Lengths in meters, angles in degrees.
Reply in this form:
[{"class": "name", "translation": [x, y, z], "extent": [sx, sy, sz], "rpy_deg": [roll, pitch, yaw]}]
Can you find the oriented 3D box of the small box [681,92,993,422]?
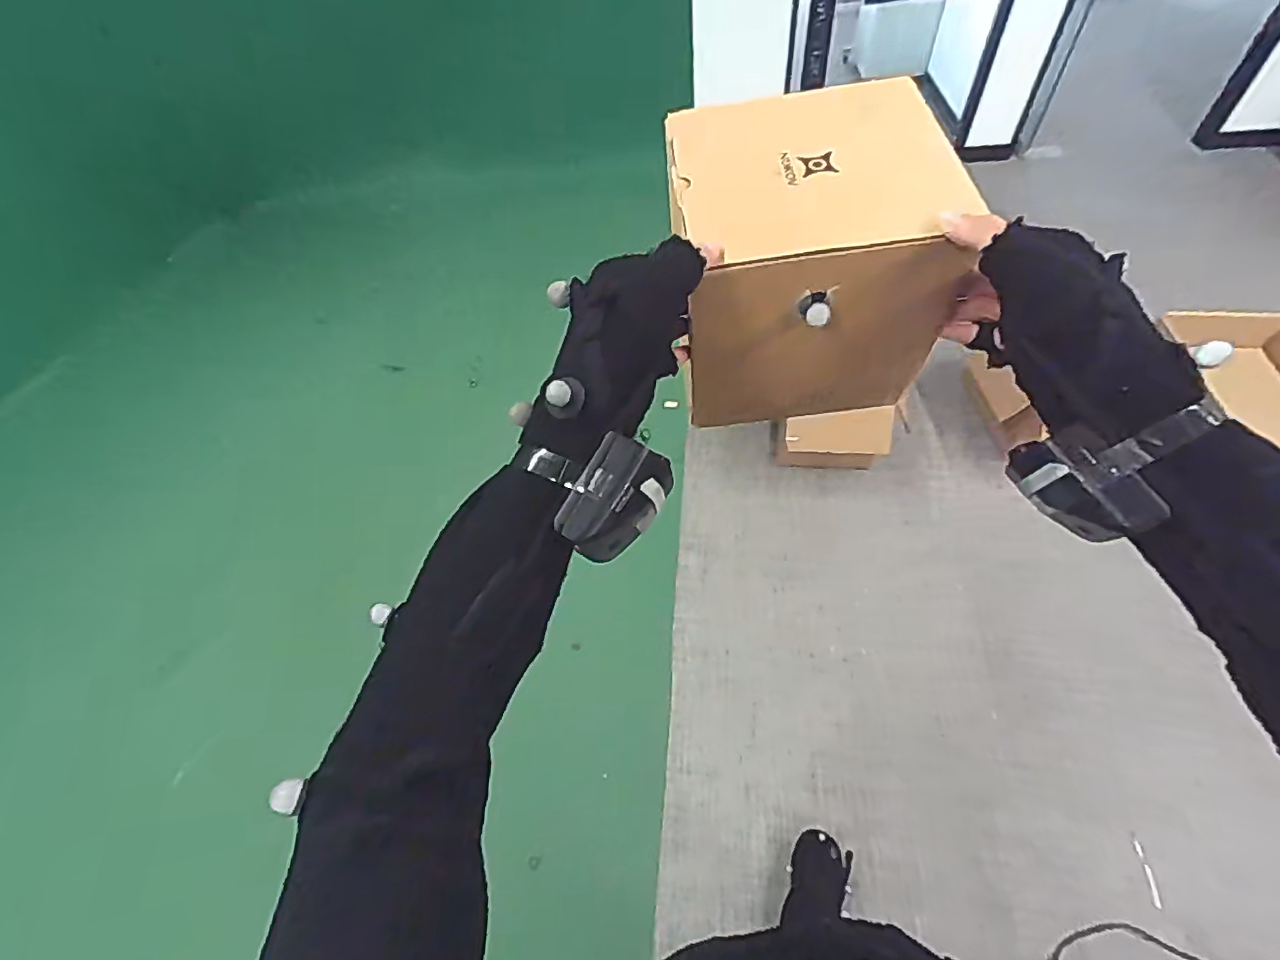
[{"class": "small box", "translation": [0.128, -0.164, 0.431], "extent": [0.179, 0.176, 0.168], "rpy_deg": [-6, 61, 4]}]
